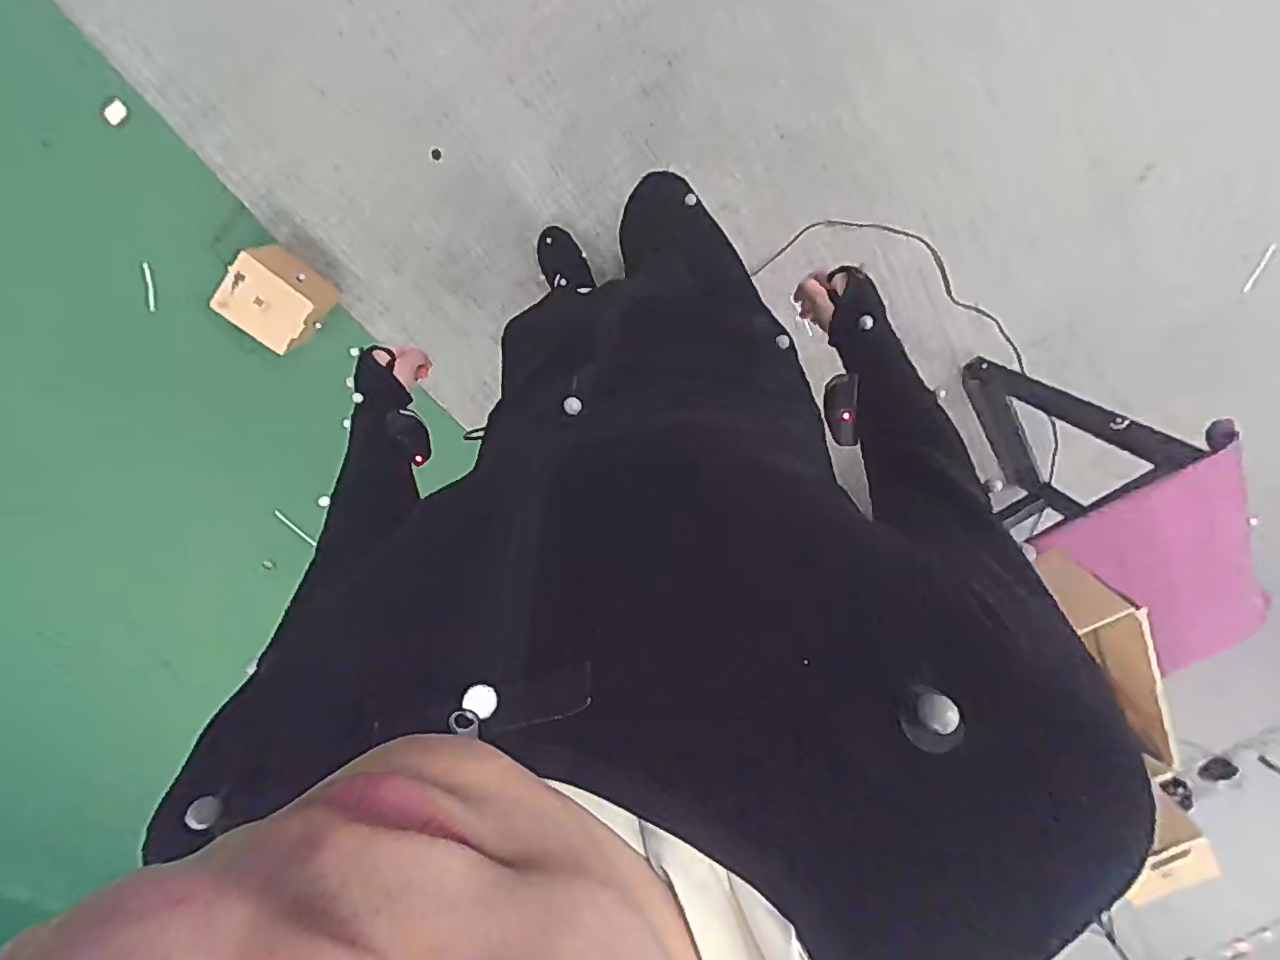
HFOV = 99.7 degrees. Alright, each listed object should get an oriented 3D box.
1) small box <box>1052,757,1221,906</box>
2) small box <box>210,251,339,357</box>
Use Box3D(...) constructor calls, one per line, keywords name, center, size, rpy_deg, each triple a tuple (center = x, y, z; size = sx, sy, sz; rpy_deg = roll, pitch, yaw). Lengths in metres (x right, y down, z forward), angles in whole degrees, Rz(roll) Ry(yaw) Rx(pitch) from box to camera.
Box3D(name="small box", center=(0.959, 0.678, 1.057), size=(0.168, 0.176, 0.179), rpy_deg=(-35, 116, 13))
Box3D(name="small box", center=(-0.882, -0.437, 1.325), size=(0.179, 0.176, 0.168), rpy_deg=(39, 107, -23))
